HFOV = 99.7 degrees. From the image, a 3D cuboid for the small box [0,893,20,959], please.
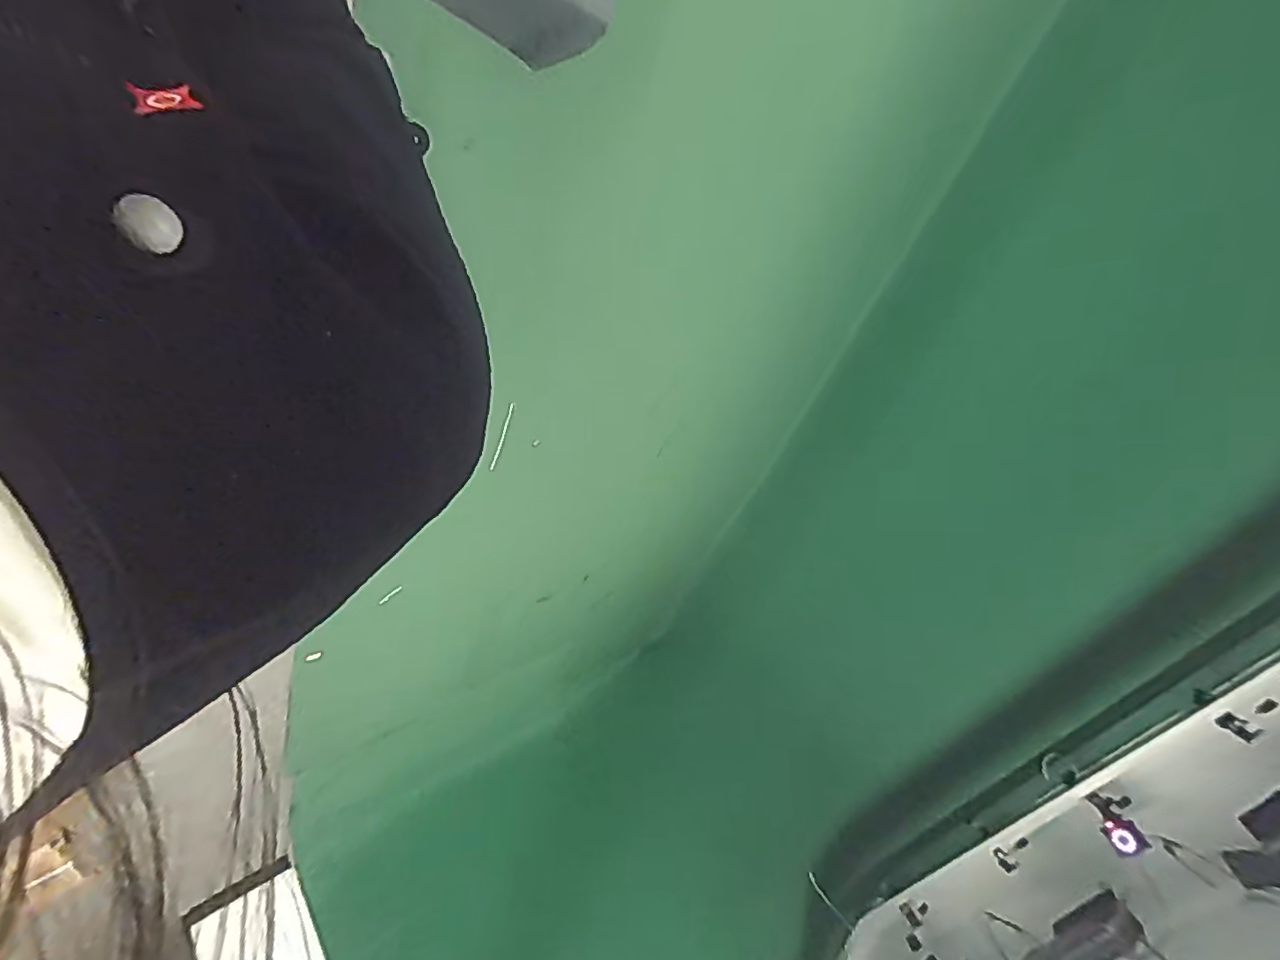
[{"bbox_3d":[-1.741,1.196,1.377,0.179,0.176,0.168,-16,138,-42],"label":"small box"}]
